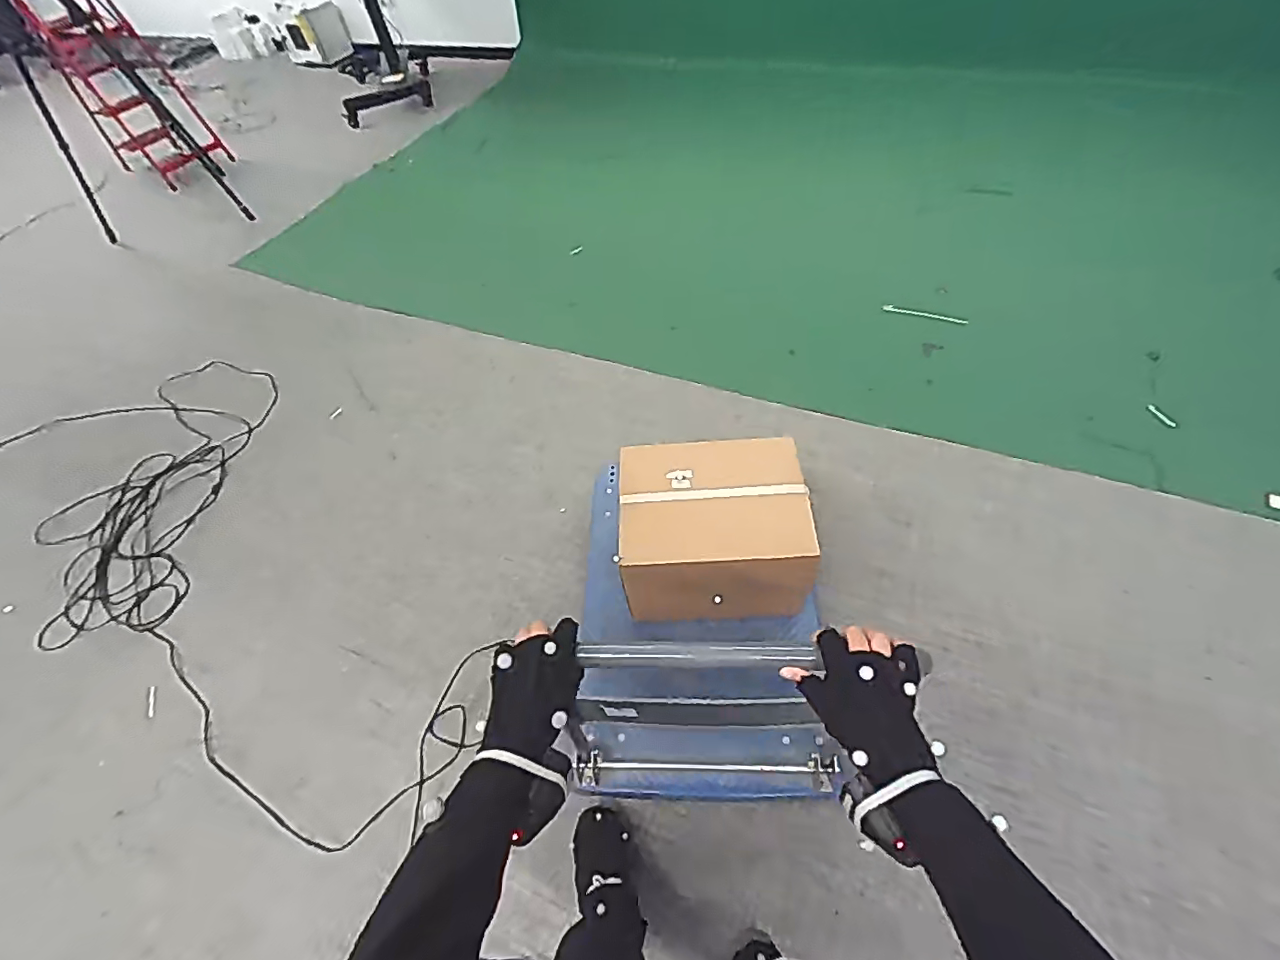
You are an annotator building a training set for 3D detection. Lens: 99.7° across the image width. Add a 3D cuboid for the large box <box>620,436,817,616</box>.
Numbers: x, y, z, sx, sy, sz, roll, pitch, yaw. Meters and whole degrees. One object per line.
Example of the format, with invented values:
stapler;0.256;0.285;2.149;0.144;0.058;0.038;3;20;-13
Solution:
large box;0.171;0.120;1.298;0.408;0.320;0.320;-3;53;4
